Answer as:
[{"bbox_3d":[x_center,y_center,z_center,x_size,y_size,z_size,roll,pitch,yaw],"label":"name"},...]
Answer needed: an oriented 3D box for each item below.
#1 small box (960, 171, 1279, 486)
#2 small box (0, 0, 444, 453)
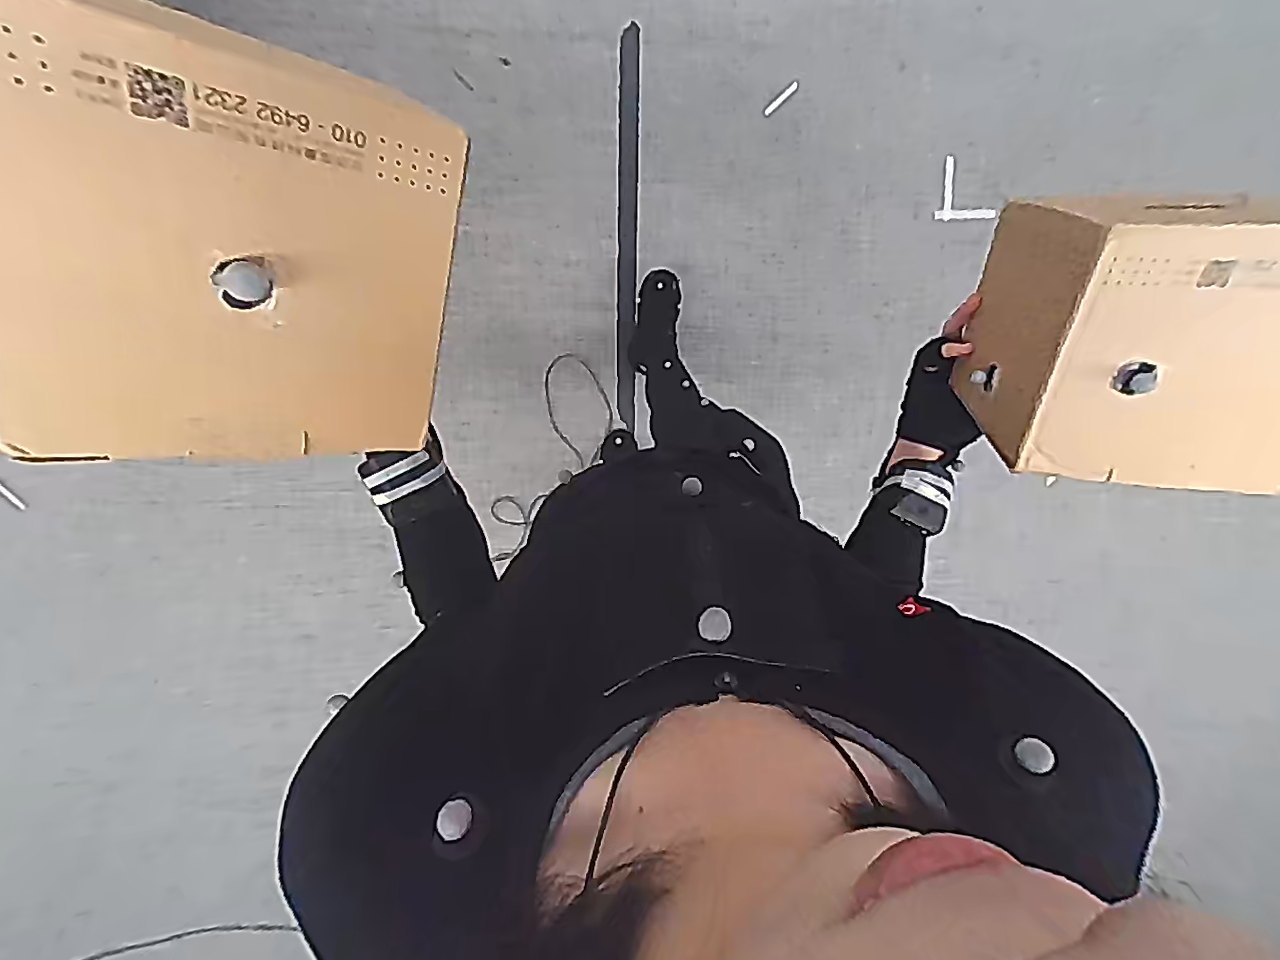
[{"bbox_3d":[0.362,-0.115,0.385,0.168,0.179,0.176,5,124,10],"label":"small box"},{"bbox_3d":[-0.204,-0.131,0.265,0.168,0.179,0.176,-4,127,-36],"label":"small box"}]
